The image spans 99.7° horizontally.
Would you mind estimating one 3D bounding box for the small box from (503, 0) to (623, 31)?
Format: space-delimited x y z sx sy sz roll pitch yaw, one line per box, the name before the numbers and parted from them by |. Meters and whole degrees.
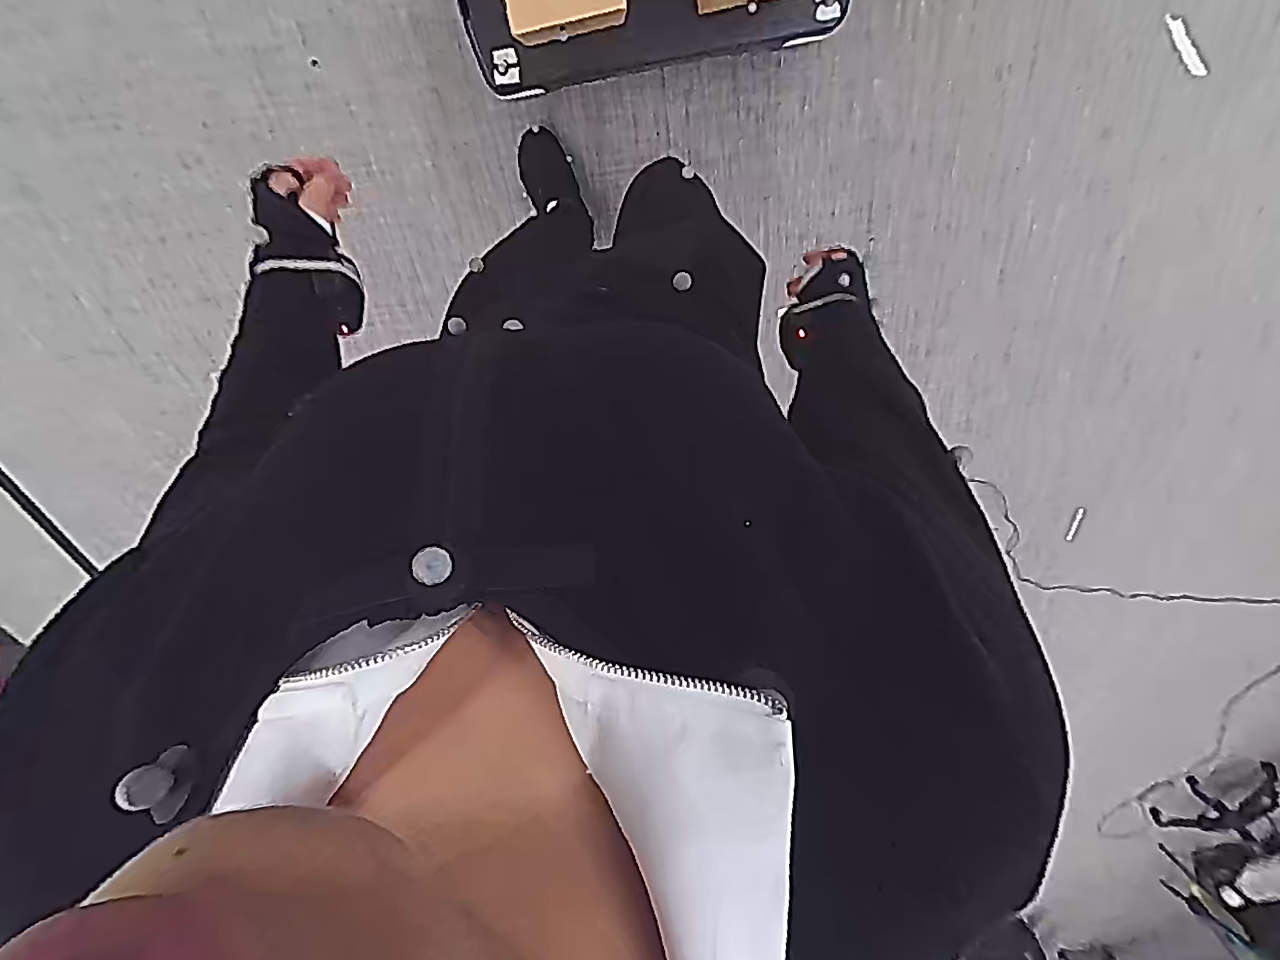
small box | -0.123 -0.791 0.815 0.179 0.176 0.168 -10 125 5
